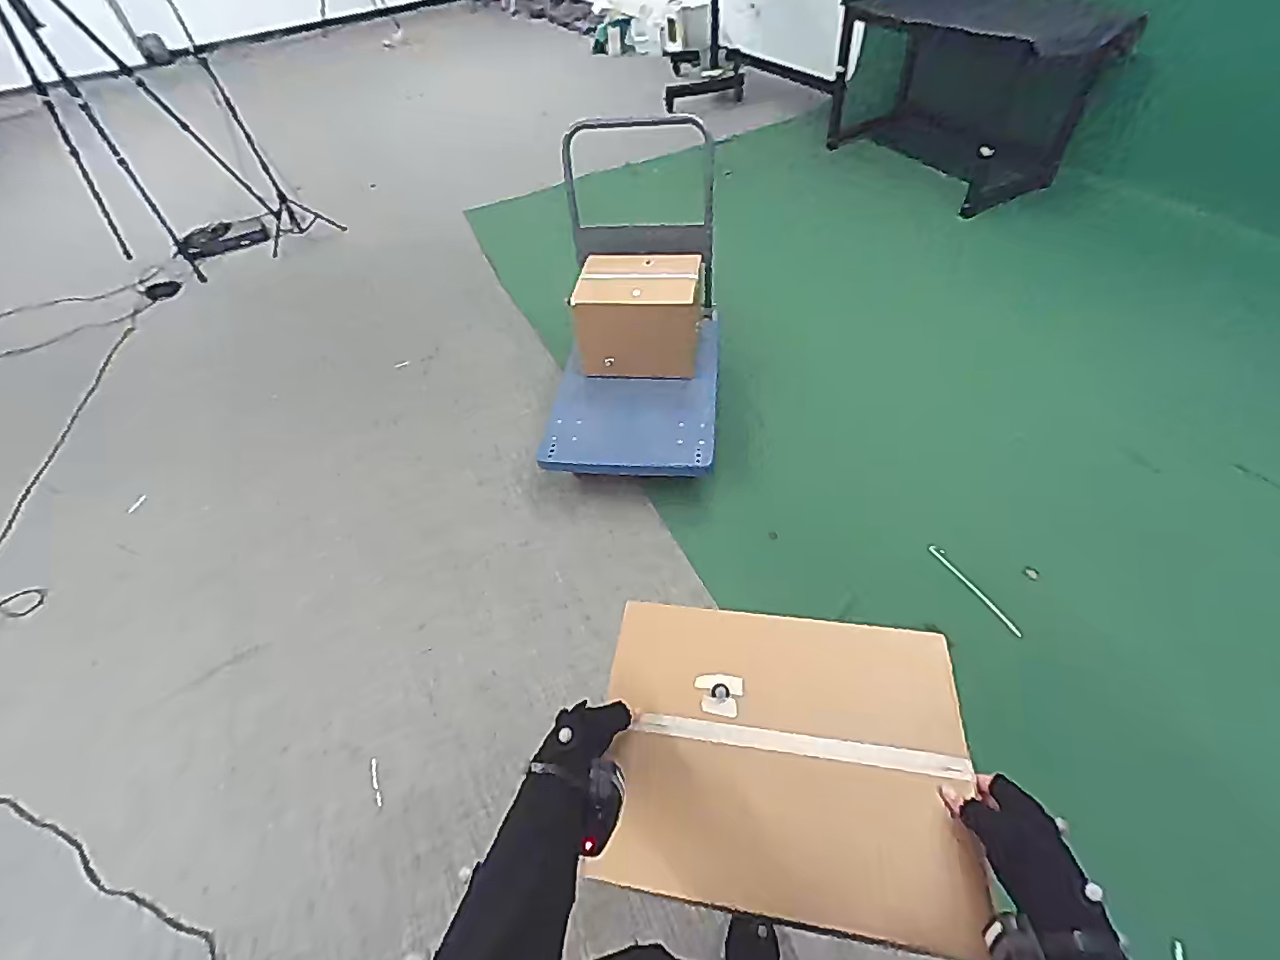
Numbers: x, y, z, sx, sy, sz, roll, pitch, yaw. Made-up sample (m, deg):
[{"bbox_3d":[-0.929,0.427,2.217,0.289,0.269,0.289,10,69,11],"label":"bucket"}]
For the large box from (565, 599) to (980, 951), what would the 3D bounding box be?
[{"bbox_3d":[0.160,0.382,0.729,0.408,0.320,0.320,4,53,12],"label":"large box"}]
